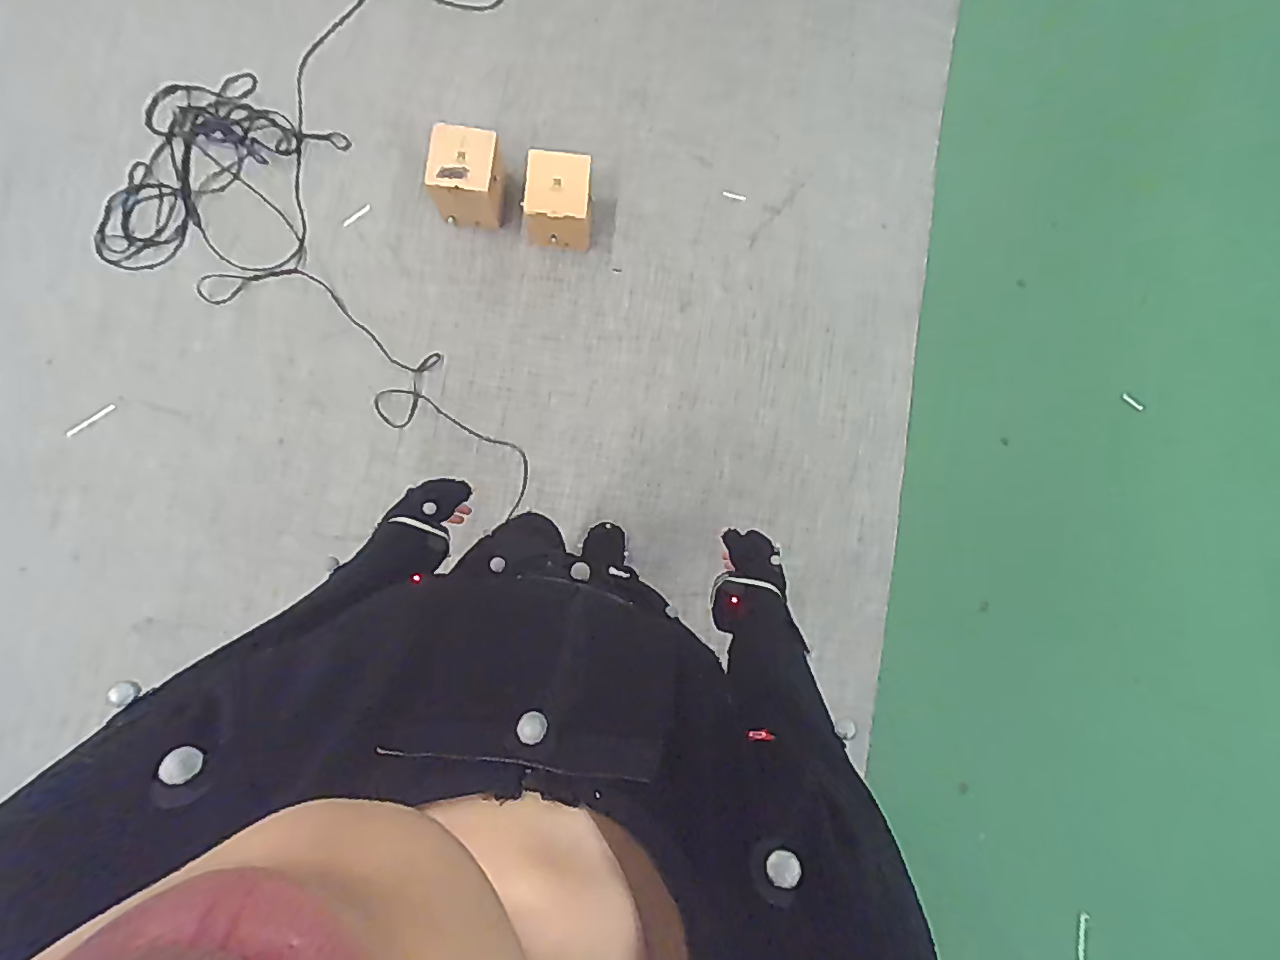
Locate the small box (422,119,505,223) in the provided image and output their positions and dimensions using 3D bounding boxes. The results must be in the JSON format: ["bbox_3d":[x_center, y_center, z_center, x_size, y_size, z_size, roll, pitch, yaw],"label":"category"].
[{"bbox_3d":[-0.470,-0.828,1.465,0.168,0.176,0.179,7,84,-4],"label":"small box"}]

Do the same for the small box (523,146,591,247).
[{"bbox_3d":[-0.222,-0.769,1.480,0.168,0.176,0.179,4,86,-3],"label":"small box"}]
